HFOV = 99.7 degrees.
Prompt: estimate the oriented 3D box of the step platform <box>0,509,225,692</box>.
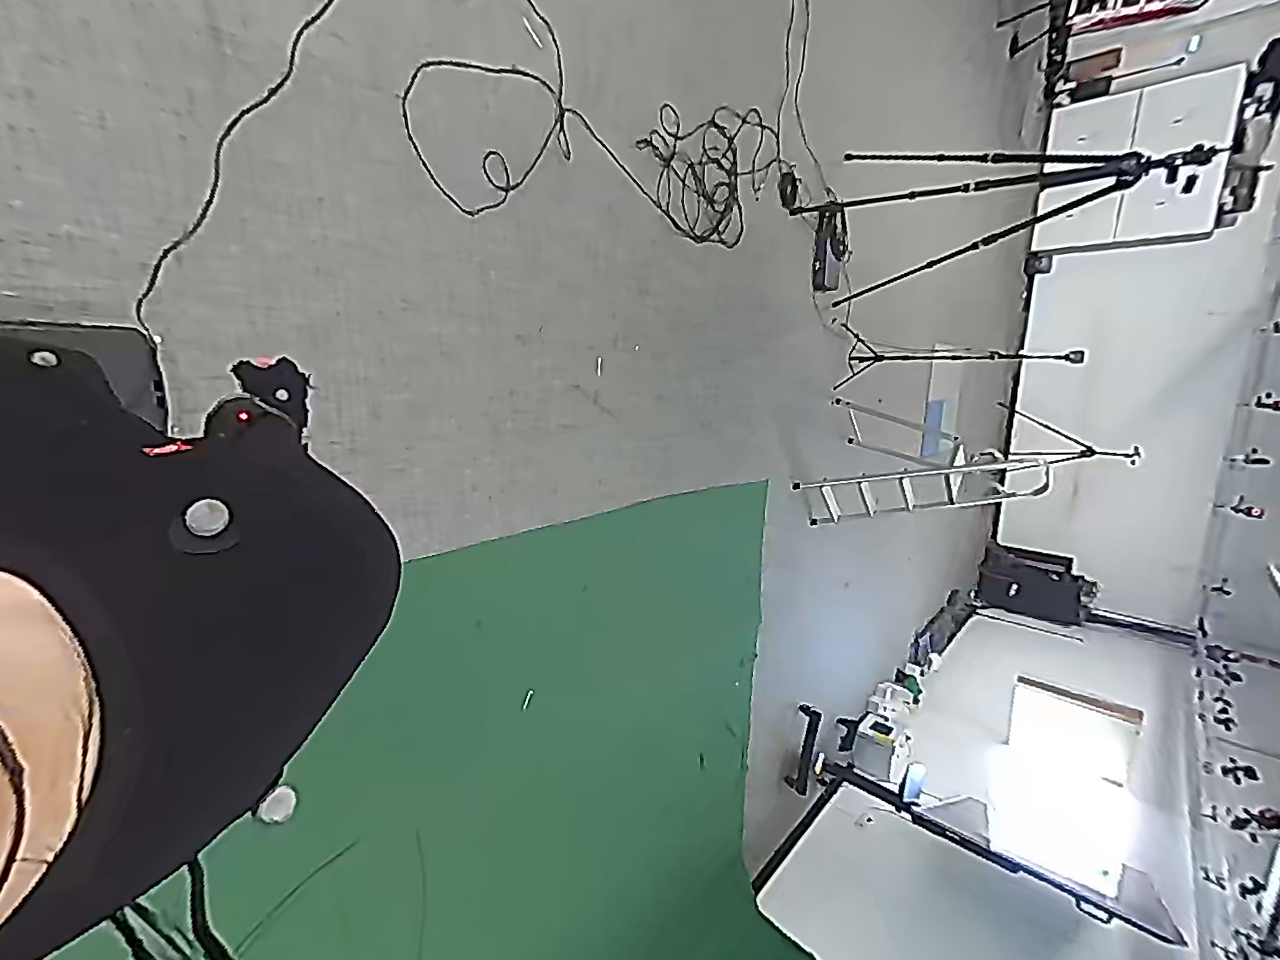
[{"bbox_3d":[-1.094,0.241,0.843,0.684,0.204,0.286,-12,107,-47],"label":"step platform"}]
